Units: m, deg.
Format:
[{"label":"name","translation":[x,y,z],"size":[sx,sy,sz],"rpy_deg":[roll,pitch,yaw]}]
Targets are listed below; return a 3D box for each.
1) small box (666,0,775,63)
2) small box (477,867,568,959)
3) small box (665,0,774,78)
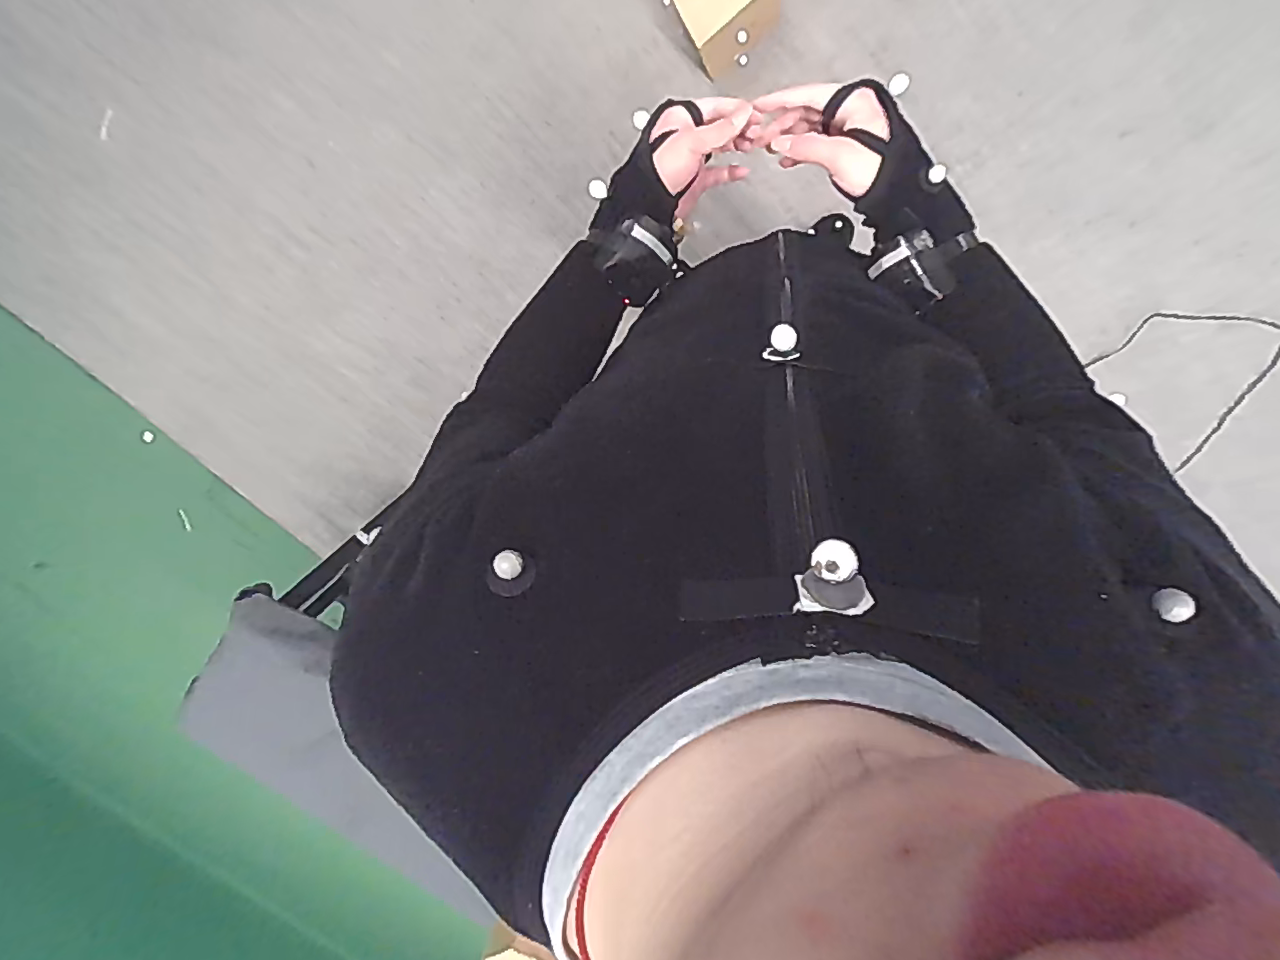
[{"label":"small box","translation":[0.128,-0.891,0.958],"size":[0.168,0.176,0.179],"rpy_deg":[-27,110,24]},{"label":"small box","translation":[-0.323,1.237,1.528],"size":[0.168,0.176,0.179],"rpy_deg":[40,117,-10]},{"label":"small box","translation":[0.157,-0.967,1.101],"size":[0.168,0.176,0.179],"rpy_deg":[-28,110,25]}]
